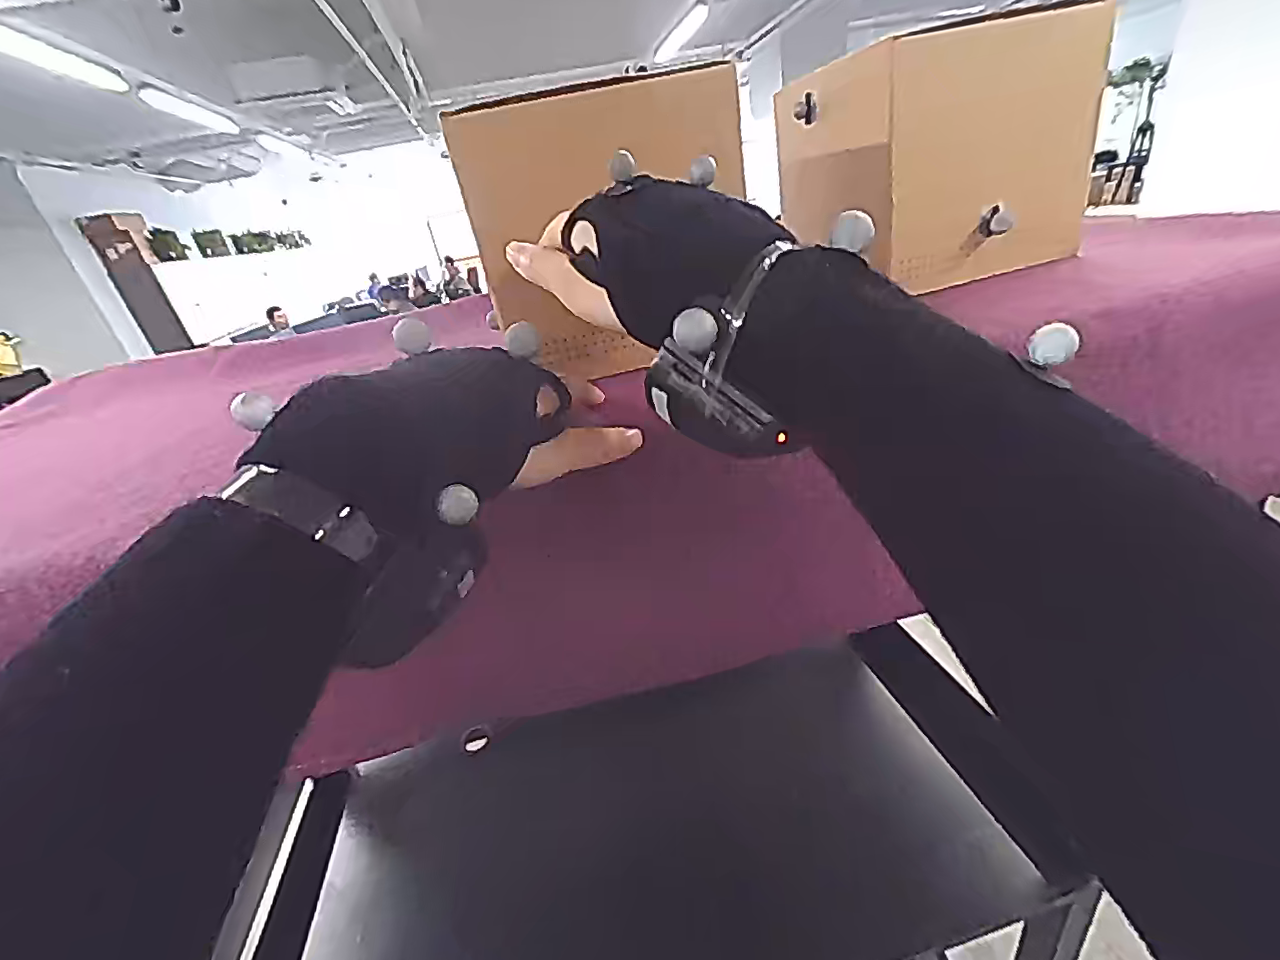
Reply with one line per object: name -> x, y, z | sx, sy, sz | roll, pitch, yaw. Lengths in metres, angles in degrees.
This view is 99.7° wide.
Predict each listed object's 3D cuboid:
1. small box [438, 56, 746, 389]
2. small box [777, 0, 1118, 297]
small box -> -0.027, -0.184, 0.410 | 0.179, 0.176, 0.168 | -14, 25, -5
small box -> 0.233, -0.263, 0.453 | 0.179, 0.176, 0.168 | -16, 26, -8
